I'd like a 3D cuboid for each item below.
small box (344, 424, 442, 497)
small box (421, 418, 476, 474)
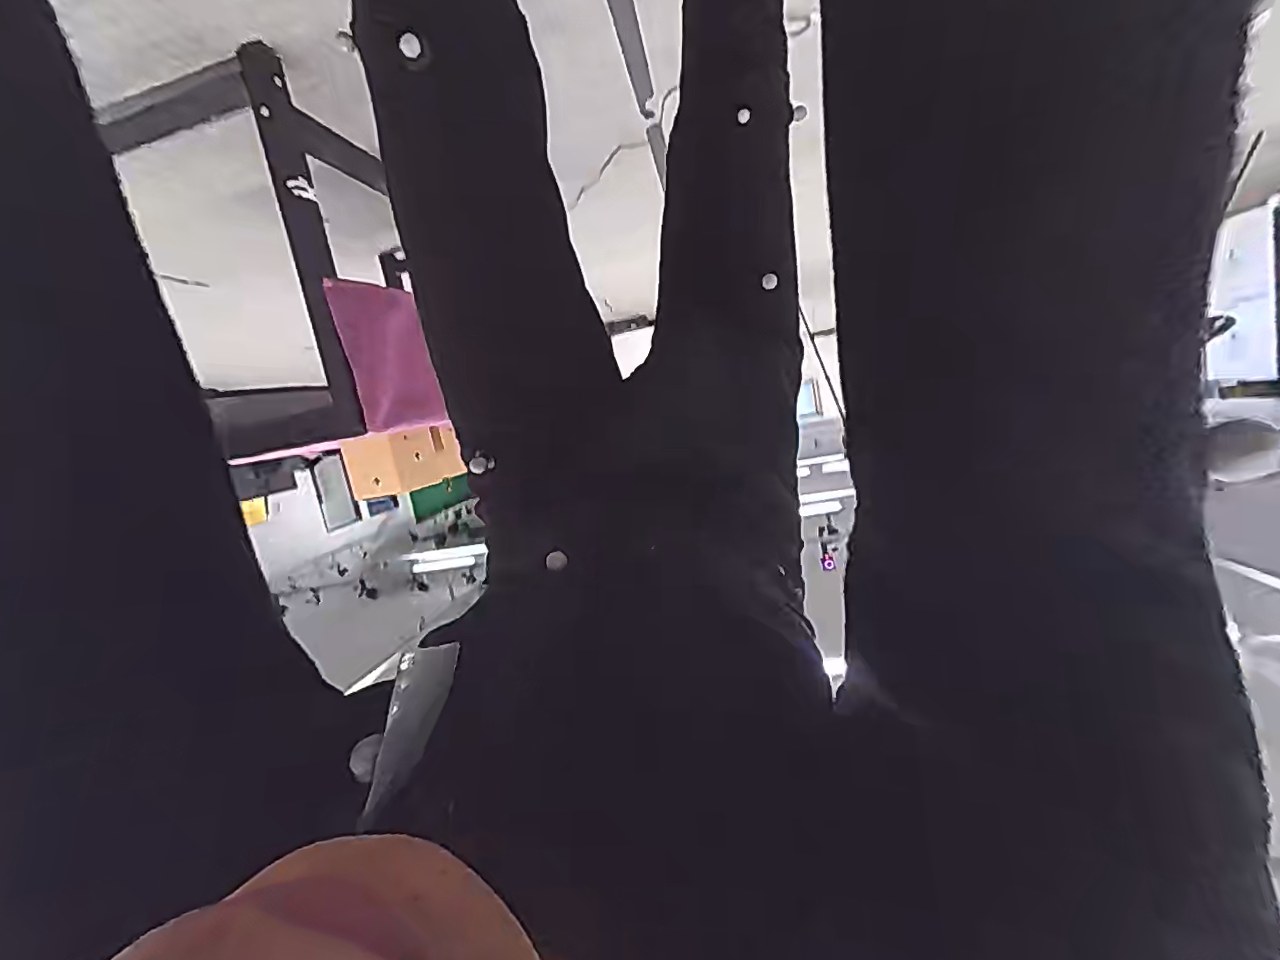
[{"bbox_3d":[-0.702,-0.063,1.536,0.179,0.176,0.168,-8,-171,20],"label":"small box"},{"bbox_3d":[-0.674,-0.108,1.784,0.179,0.176,0.168,-10,-171,15],"label":"small box"}]
